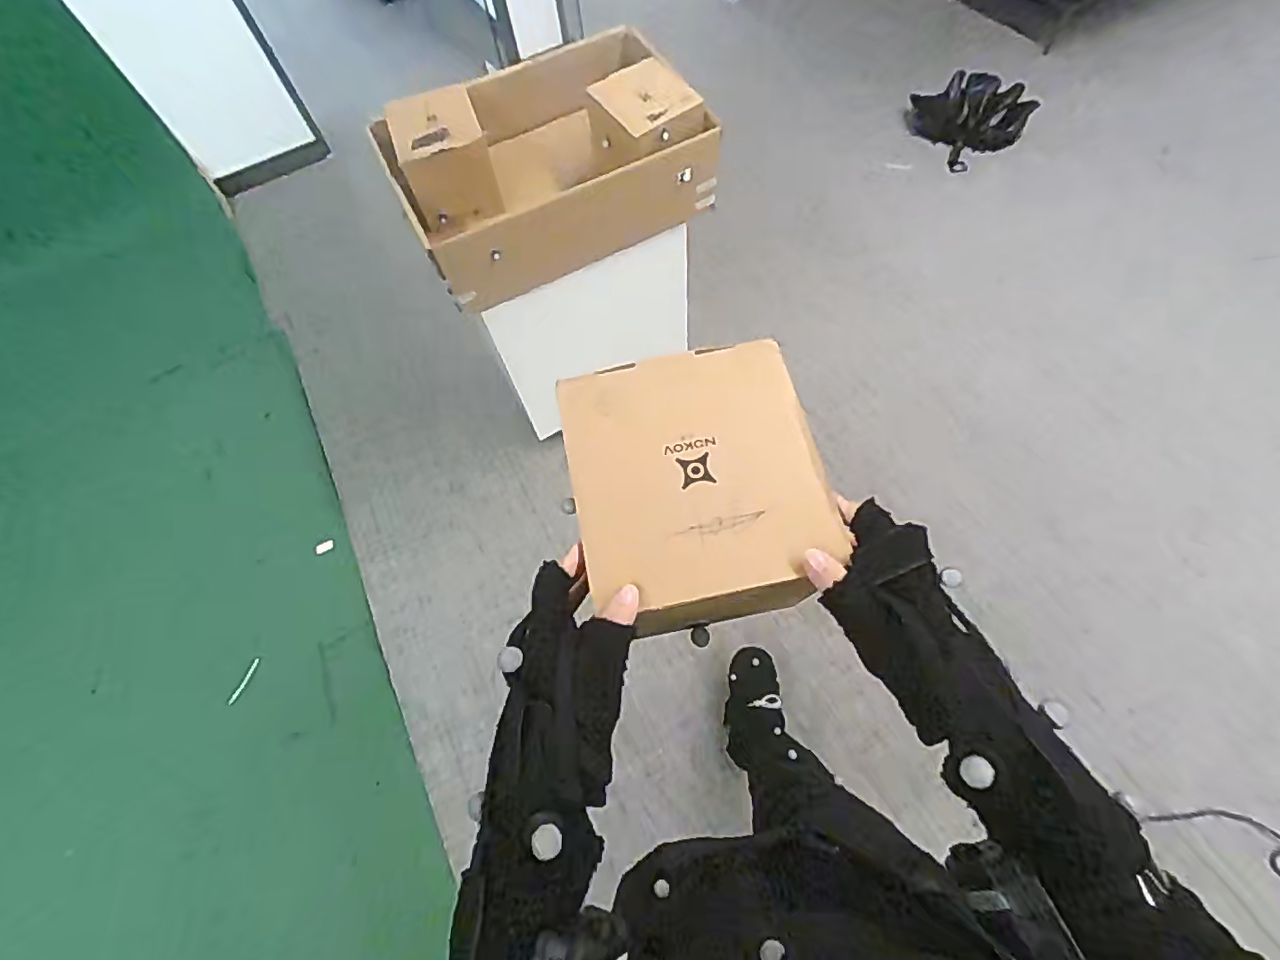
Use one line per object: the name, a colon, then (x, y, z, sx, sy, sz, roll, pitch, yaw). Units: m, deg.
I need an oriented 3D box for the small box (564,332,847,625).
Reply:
small box: (0.040, 0.011, 0.443, 0.168, 0.176, 0.179, -11, 70, -2)
